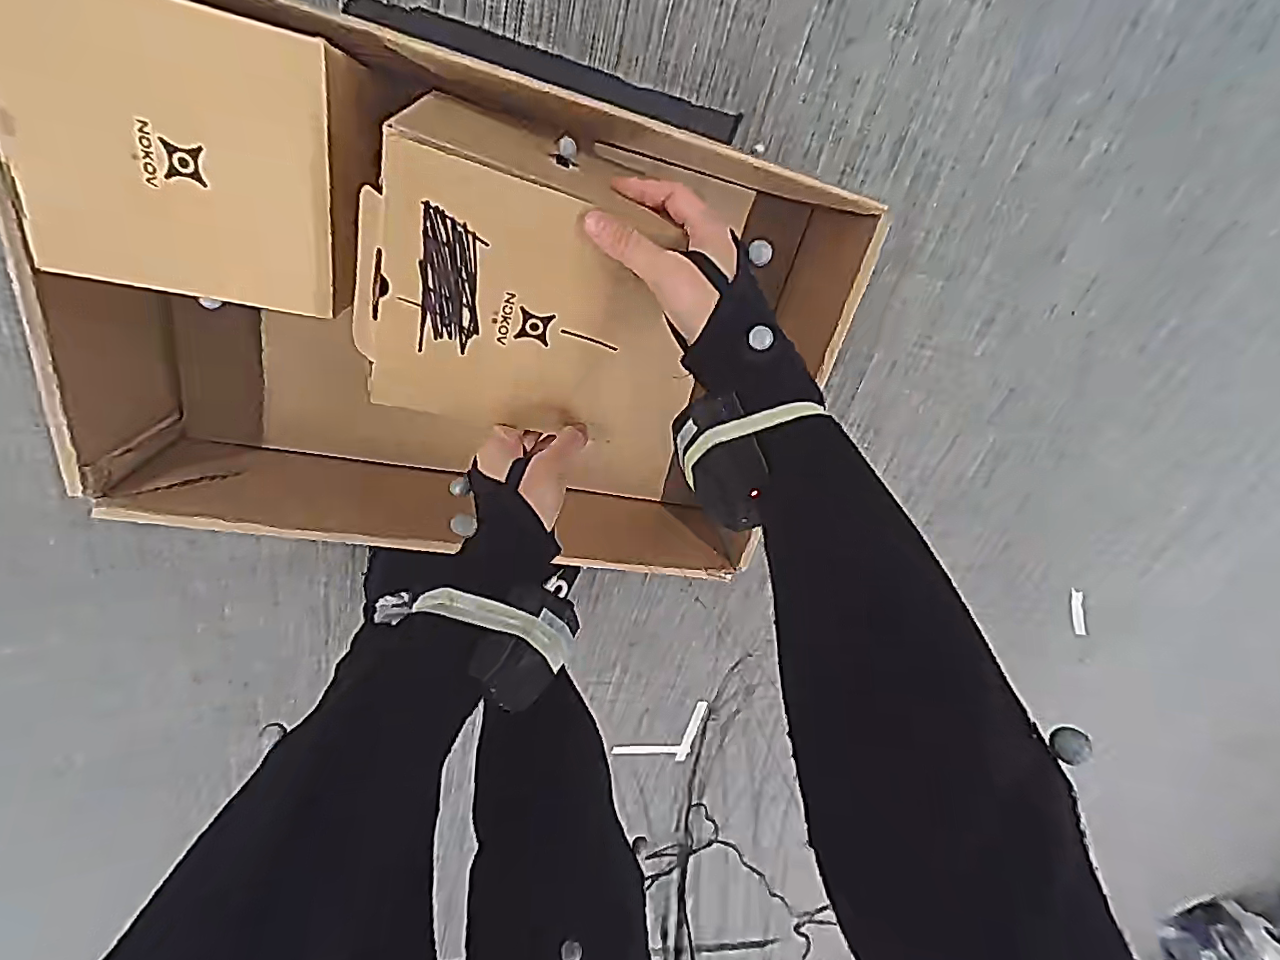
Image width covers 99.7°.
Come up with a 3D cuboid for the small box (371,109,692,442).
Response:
[{"bbox_3d":[-0.086,-0.157,0.412,0.179,0.176,0.168,11,127,-19],"label":"small box"}]
